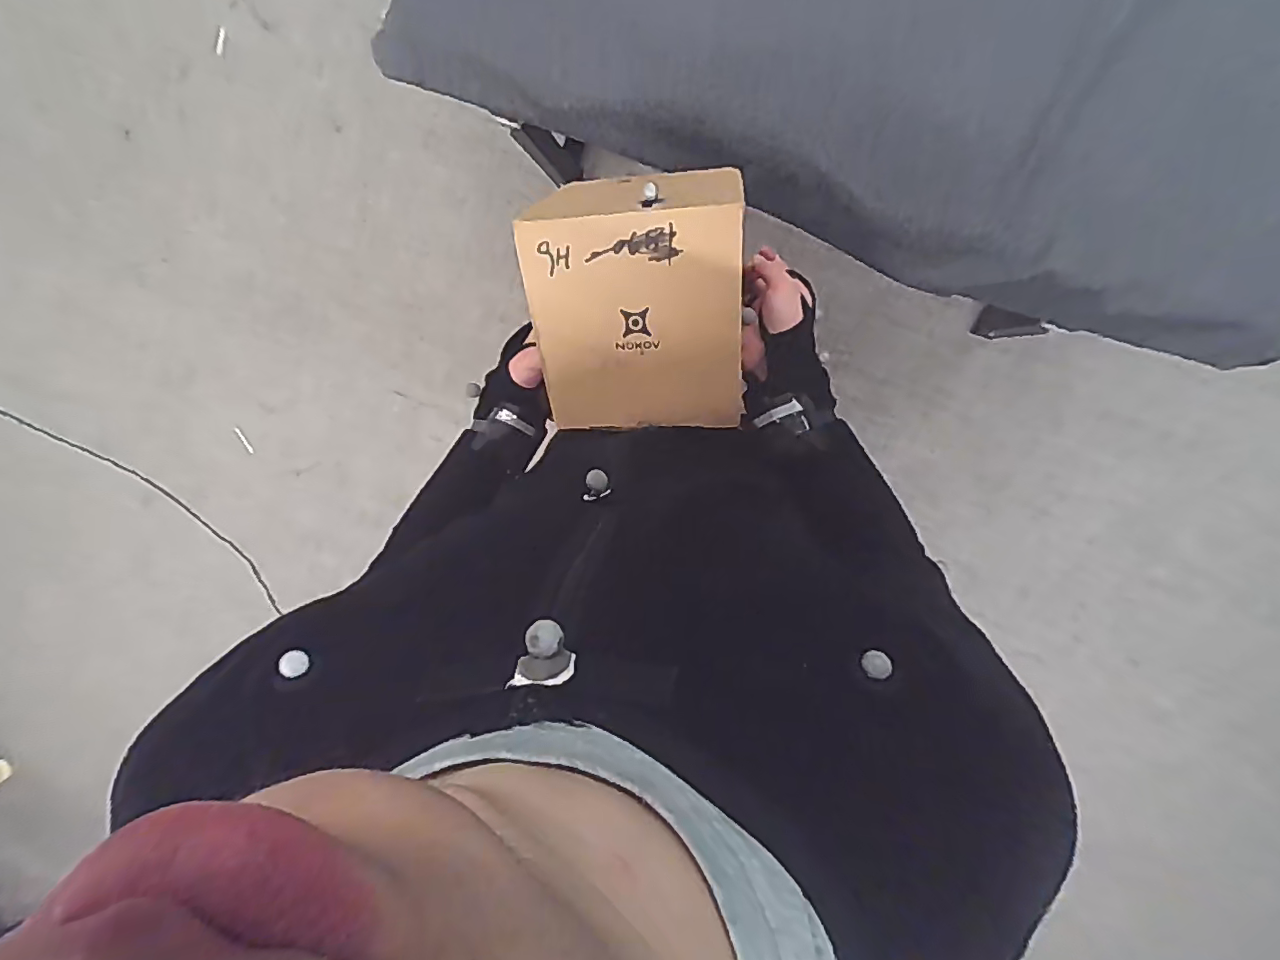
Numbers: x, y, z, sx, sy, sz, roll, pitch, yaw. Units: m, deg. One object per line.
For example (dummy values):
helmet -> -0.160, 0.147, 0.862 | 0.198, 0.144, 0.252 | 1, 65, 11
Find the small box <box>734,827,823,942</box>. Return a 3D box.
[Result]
small box -> 0.387, 1.147, 1.546 | 0.179, 0.176, 0.168 | 34, 103, -1

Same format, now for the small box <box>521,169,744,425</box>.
small box -> 0.009, -0.169, 0.500 | 0.168, 0.176, 0.179 | -1, 128, 8
